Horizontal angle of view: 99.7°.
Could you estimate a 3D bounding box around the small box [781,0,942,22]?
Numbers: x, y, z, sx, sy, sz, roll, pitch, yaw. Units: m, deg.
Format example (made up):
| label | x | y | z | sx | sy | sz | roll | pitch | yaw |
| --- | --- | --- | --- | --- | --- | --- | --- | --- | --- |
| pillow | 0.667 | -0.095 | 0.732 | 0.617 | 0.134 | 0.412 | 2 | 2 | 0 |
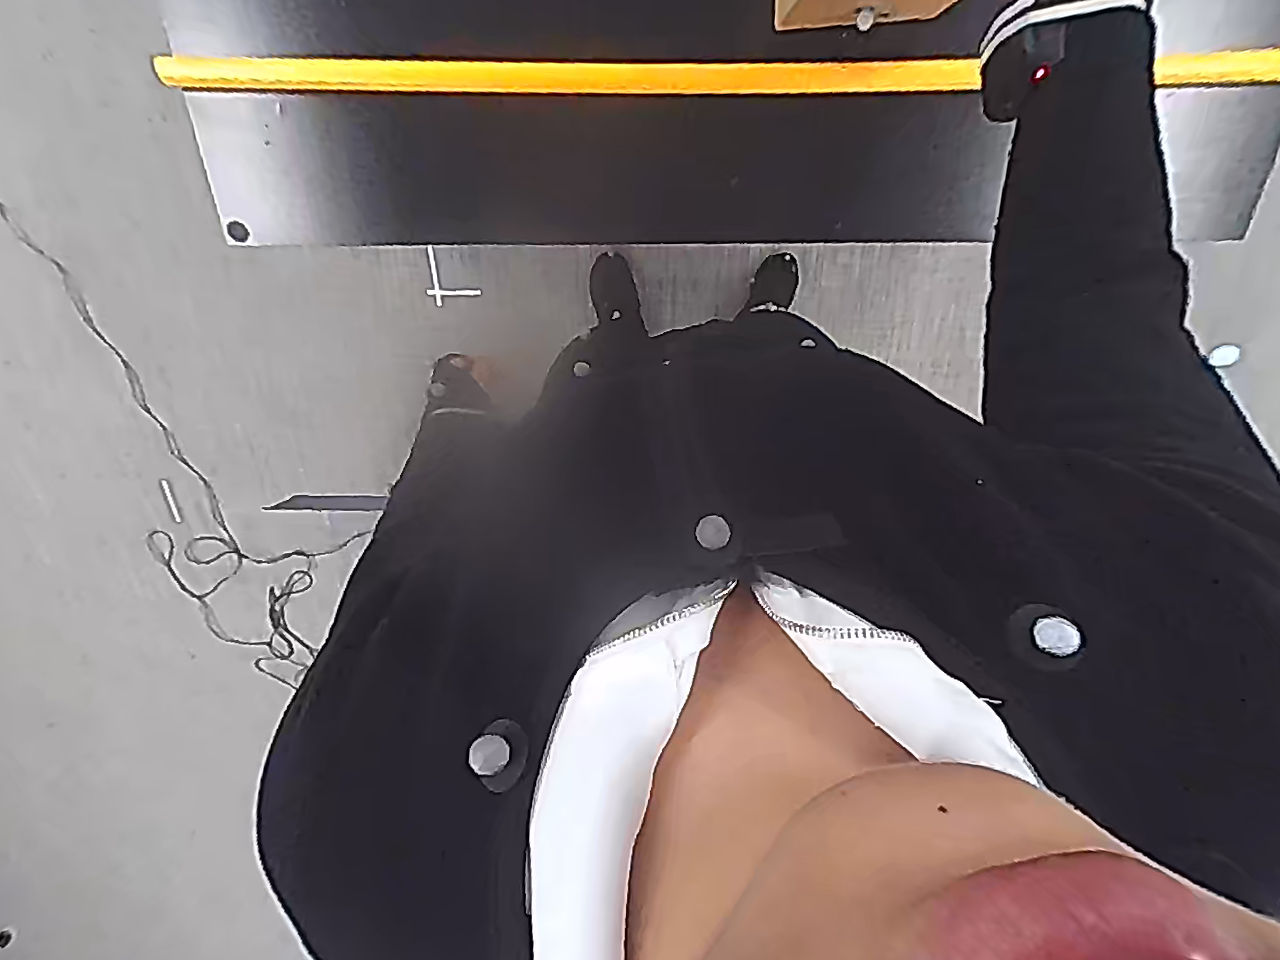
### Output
| label | x | y | z | sx | sy | sz | roll | pitch | yaw |
| --- | --- | --- | --- | --- | --- | --- | --- | --- | --- |
| small box | 0.218 | -0.526 | 0.453 | 0.168 | 0.176 | 0.179 | -3 | 115 | 1 |
